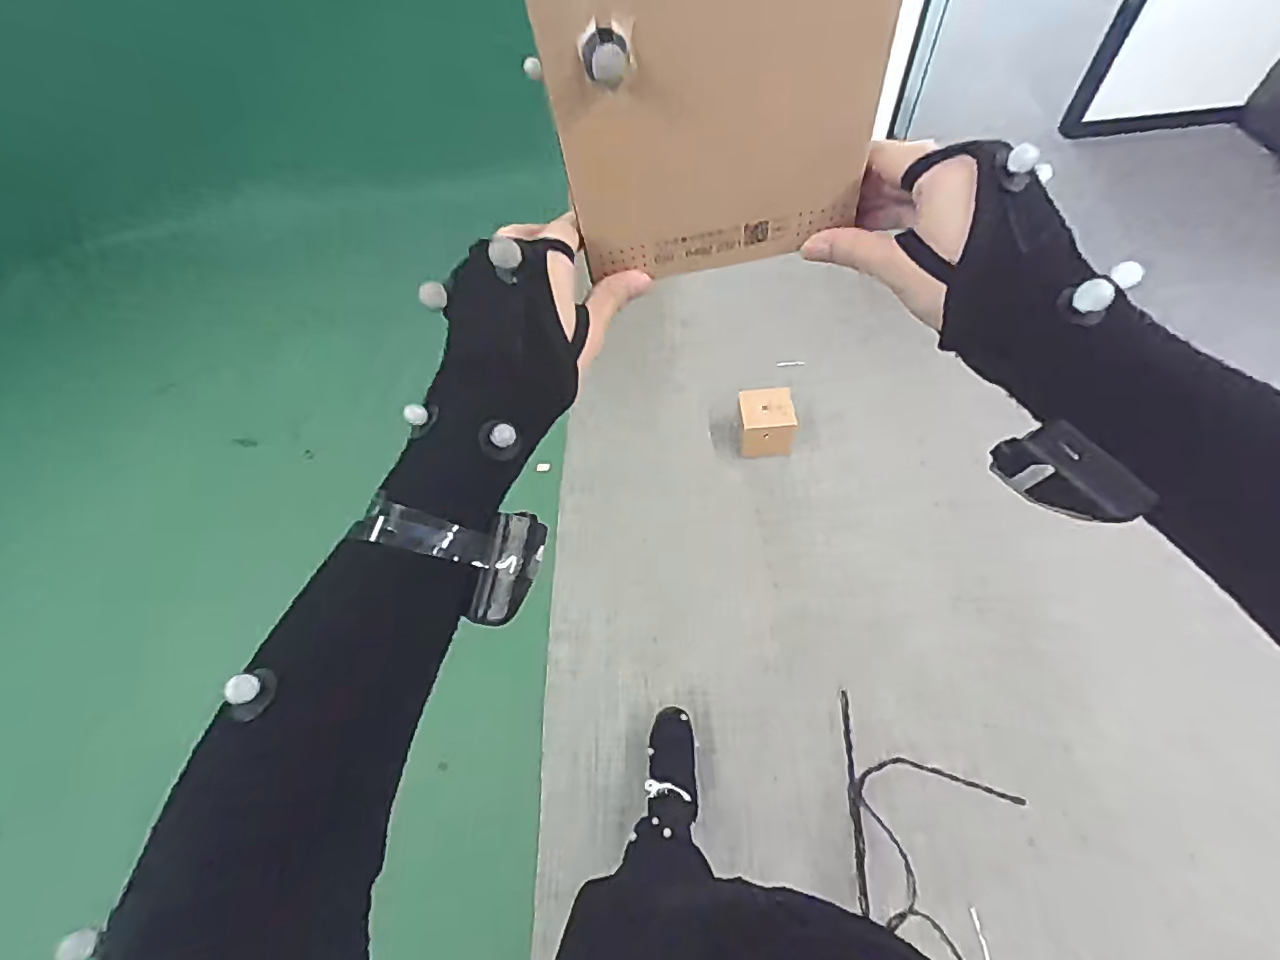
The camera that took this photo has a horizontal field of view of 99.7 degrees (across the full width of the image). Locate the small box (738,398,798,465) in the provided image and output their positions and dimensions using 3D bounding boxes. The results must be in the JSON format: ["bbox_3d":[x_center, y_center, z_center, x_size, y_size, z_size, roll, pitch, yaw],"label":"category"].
[{"bbox_3d":[0.438,-0.165,1.884,0.179,0.176,0.168,-4,56,3],"label":"small box"}]
